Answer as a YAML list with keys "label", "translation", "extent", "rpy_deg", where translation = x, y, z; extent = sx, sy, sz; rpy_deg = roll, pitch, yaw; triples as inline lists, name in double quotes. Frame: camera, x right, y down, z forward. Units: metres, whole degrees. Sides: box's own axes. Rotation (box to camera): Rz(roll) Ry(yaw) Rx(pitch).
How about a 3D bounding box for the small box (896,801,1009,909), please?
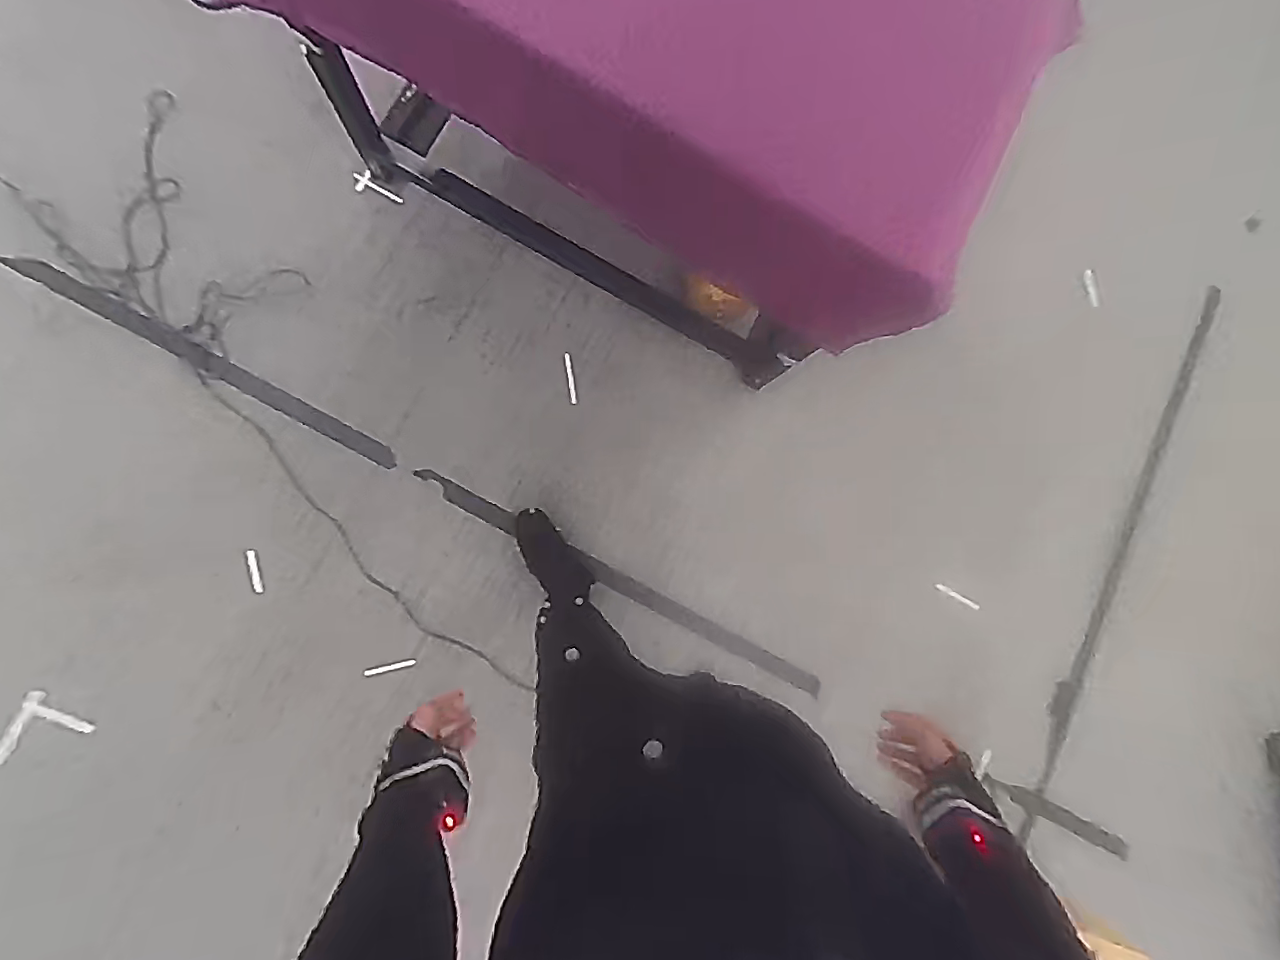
- label: "small box"
  translation: [0.807, 0.990, 1.413]
  extent: [0.168, 0.176, 0.179]
  rpy_deg: [26, 82, -5]

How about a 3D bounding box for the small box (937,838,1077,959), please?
- label: "small box"
  translation: [0.840, 0.981, 1.253]
  extent: [0.179, 0.176, 0.168]
  rpy_deg: [30, 83, -4]
